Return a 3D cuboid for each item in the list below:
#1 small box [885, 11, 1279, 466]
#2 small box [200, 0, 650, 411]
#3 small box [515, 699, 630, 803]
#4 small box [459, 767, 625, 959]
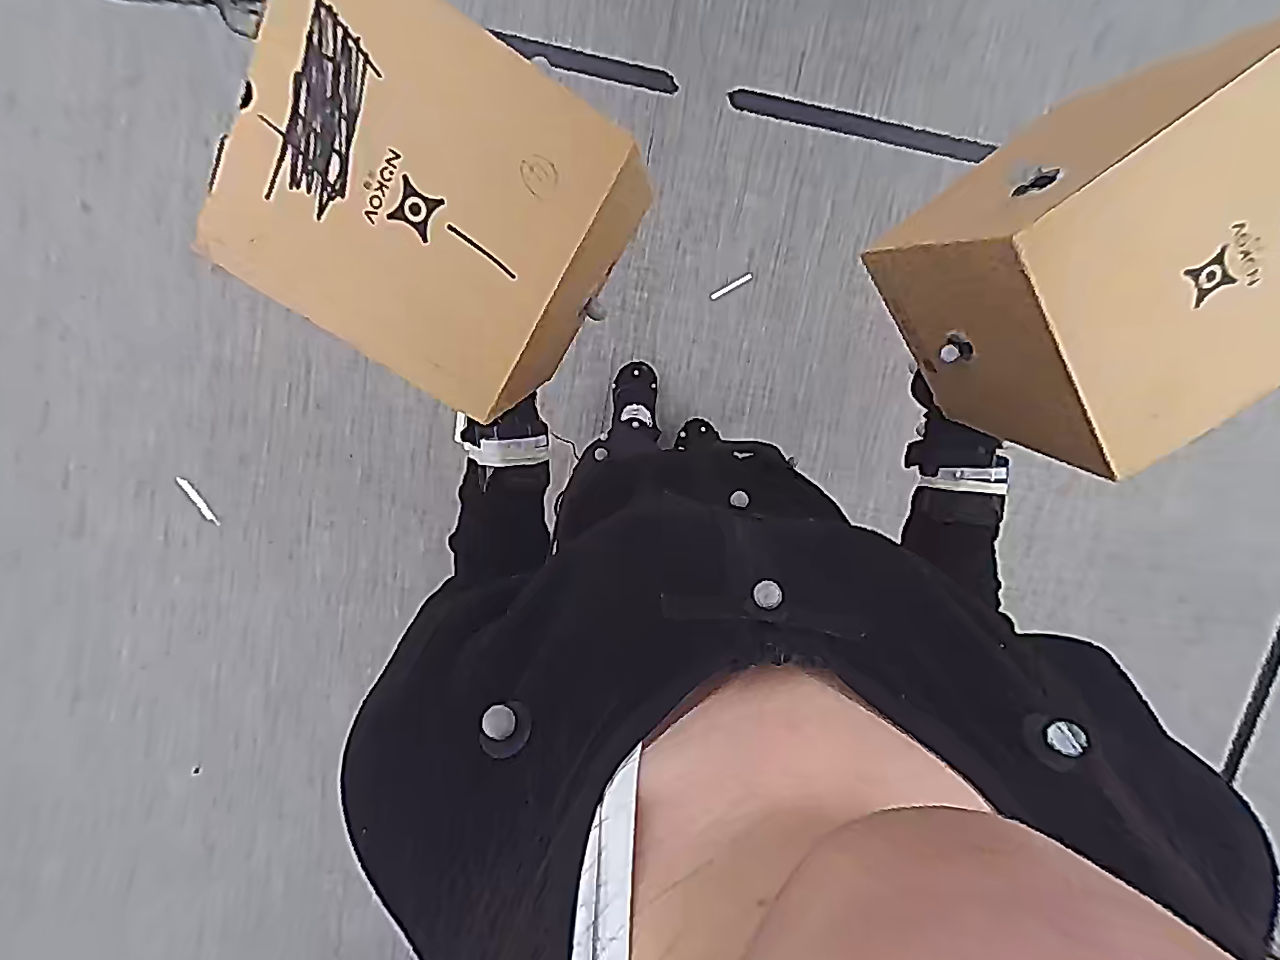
[{"bbox_3d":[0.292,-0.141,0.353,0.179,0.176,0.168,-35,110,7],"label":"small box"},{"bbox_3d":[-0.109,-0.170,0.340,0.179,0.176,0.168,31,109,-8],"label":"small box"},{"bbox_3d":[-0.116,0.478,0.854,0.168,0.176,0.179,13,99,-2],"label":"small box"},{"bbox_3d":[-0.117,0.509,0.695,0.168,0.176,0.179,13,100,-1],"label":"small box"}]
